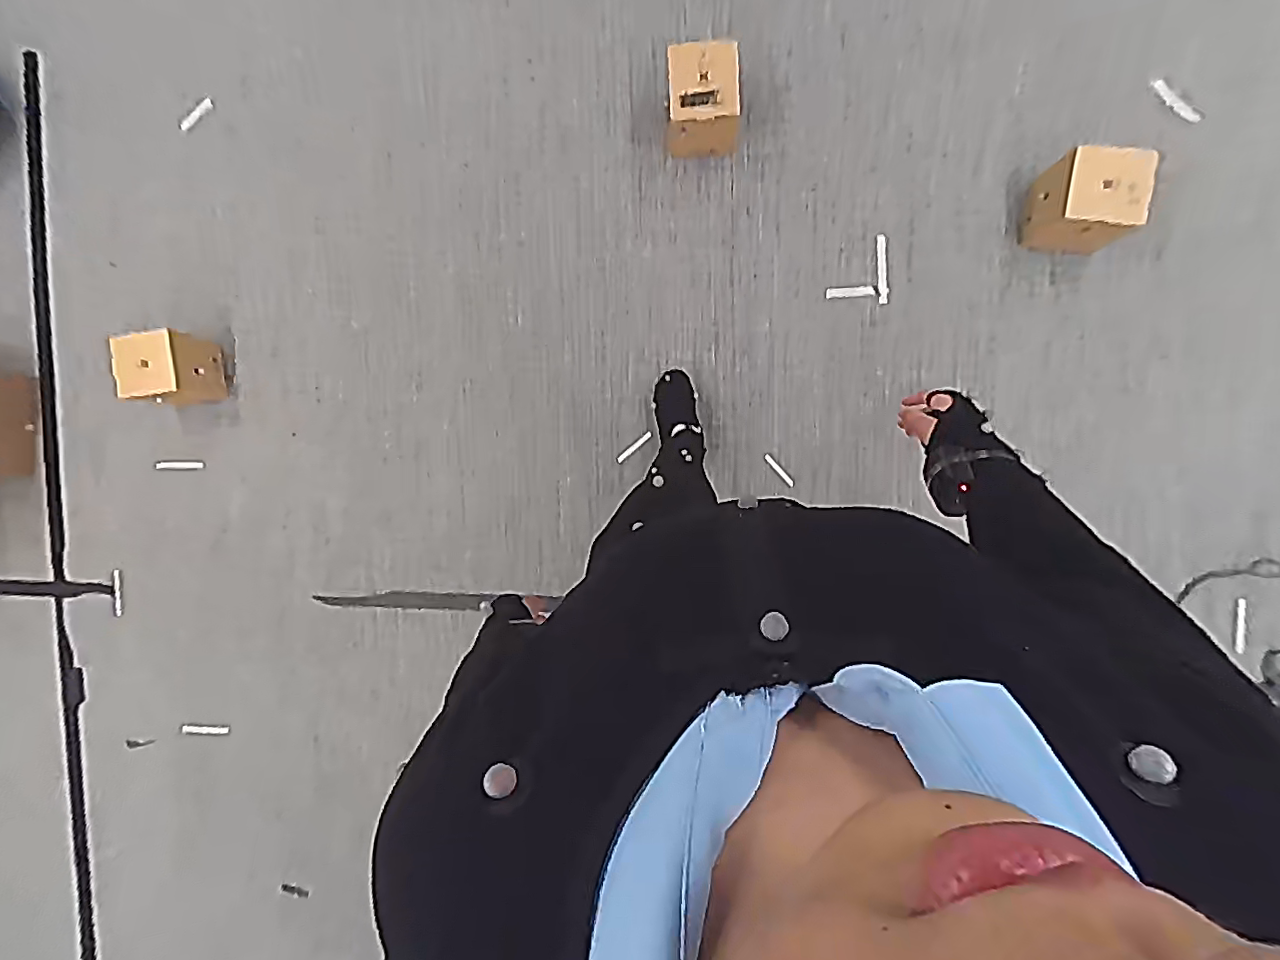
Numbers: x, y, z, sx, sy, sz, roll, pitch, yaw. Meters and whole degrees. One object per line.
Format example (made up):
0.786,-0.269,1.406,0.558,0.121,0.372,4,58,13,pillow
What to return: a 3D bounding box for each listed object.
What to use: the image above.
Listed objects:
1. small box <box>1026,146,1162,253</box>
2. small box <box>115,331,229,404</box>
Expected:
1.064,-0.658,1.285,0.179,0.176,0.168,9,94,4,small box
-1.295,-0.308,1.513,0.179,0.176,0.168,-7,92,6,small box
